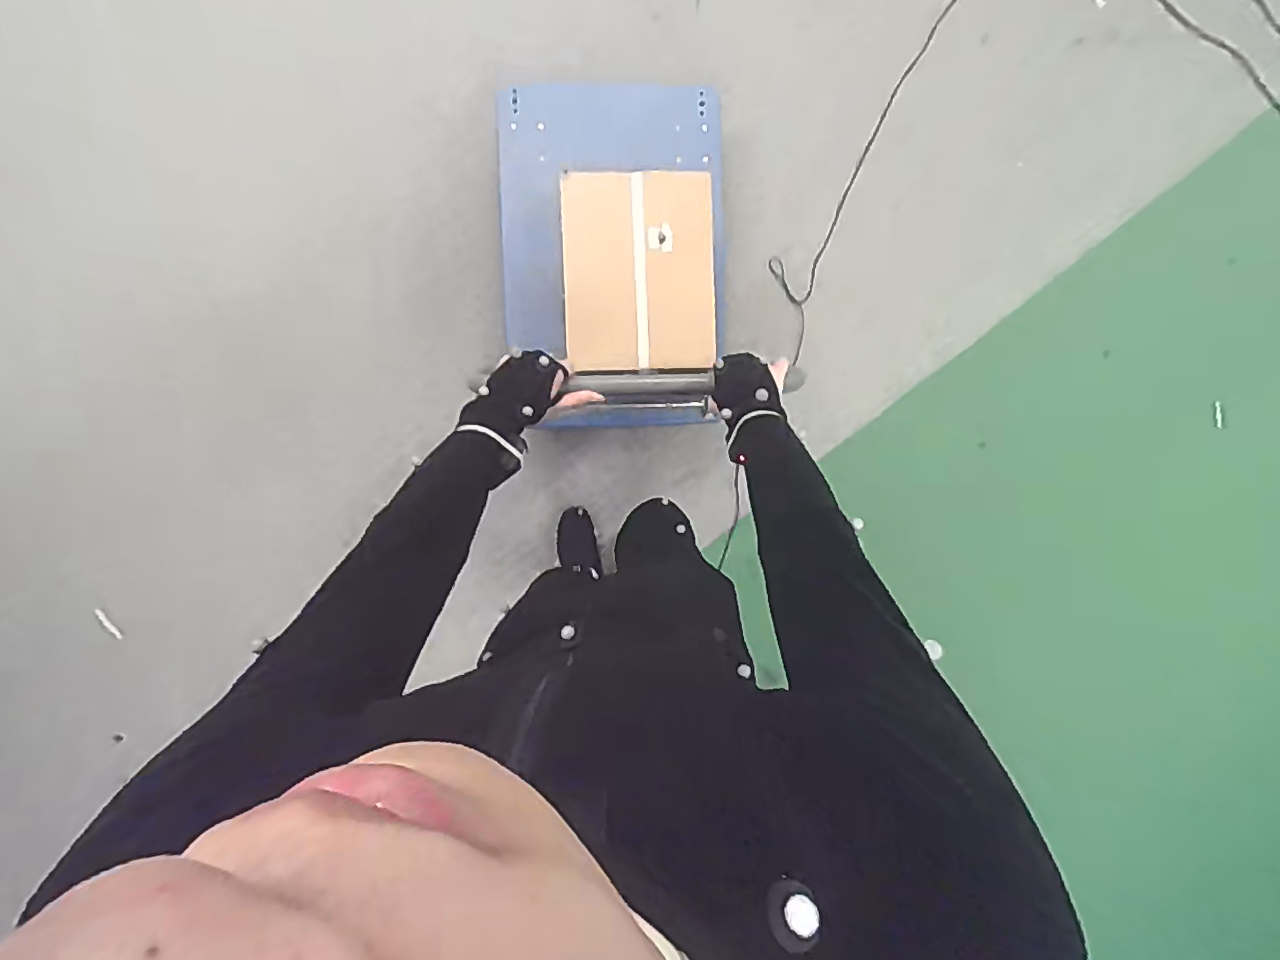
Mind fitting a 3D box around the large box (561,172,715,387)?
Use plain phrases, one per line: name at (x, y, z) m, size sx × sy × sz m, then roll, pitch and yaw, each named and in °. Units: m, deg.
large box at (-0.012, -0.447, 1.281) m, size 0.320 × 0.320 × 0.408 m, roll -2°, pitch 92°, yaw -4°
